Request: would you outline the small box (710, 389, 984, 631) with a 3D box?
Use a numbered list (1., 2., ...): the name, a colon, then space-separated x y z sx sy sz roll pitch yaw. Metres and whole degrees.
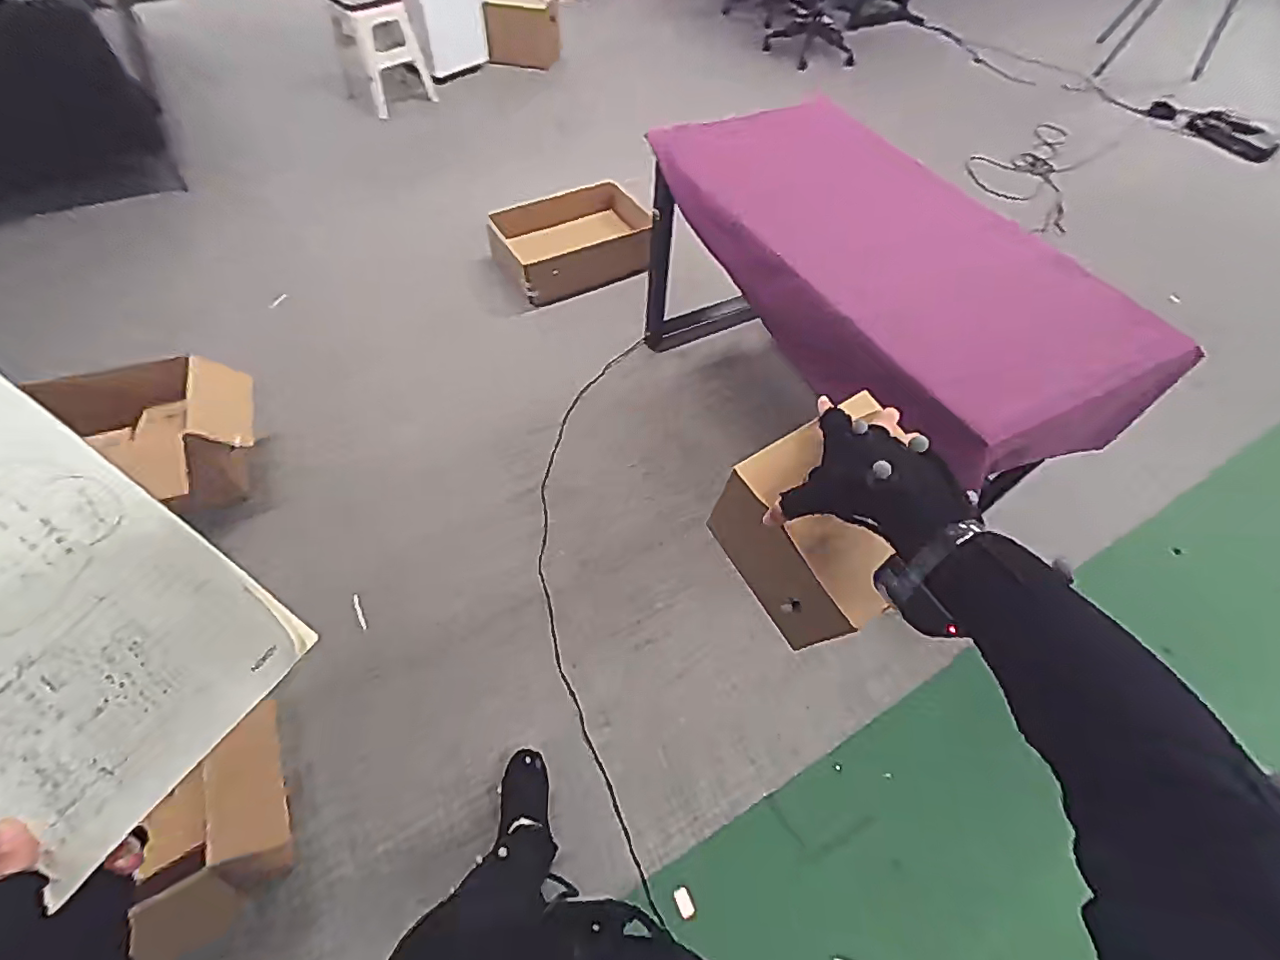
1. small box: 0.196 0.044 0.568 0.168 0.176 0.179 -28 71 -14
